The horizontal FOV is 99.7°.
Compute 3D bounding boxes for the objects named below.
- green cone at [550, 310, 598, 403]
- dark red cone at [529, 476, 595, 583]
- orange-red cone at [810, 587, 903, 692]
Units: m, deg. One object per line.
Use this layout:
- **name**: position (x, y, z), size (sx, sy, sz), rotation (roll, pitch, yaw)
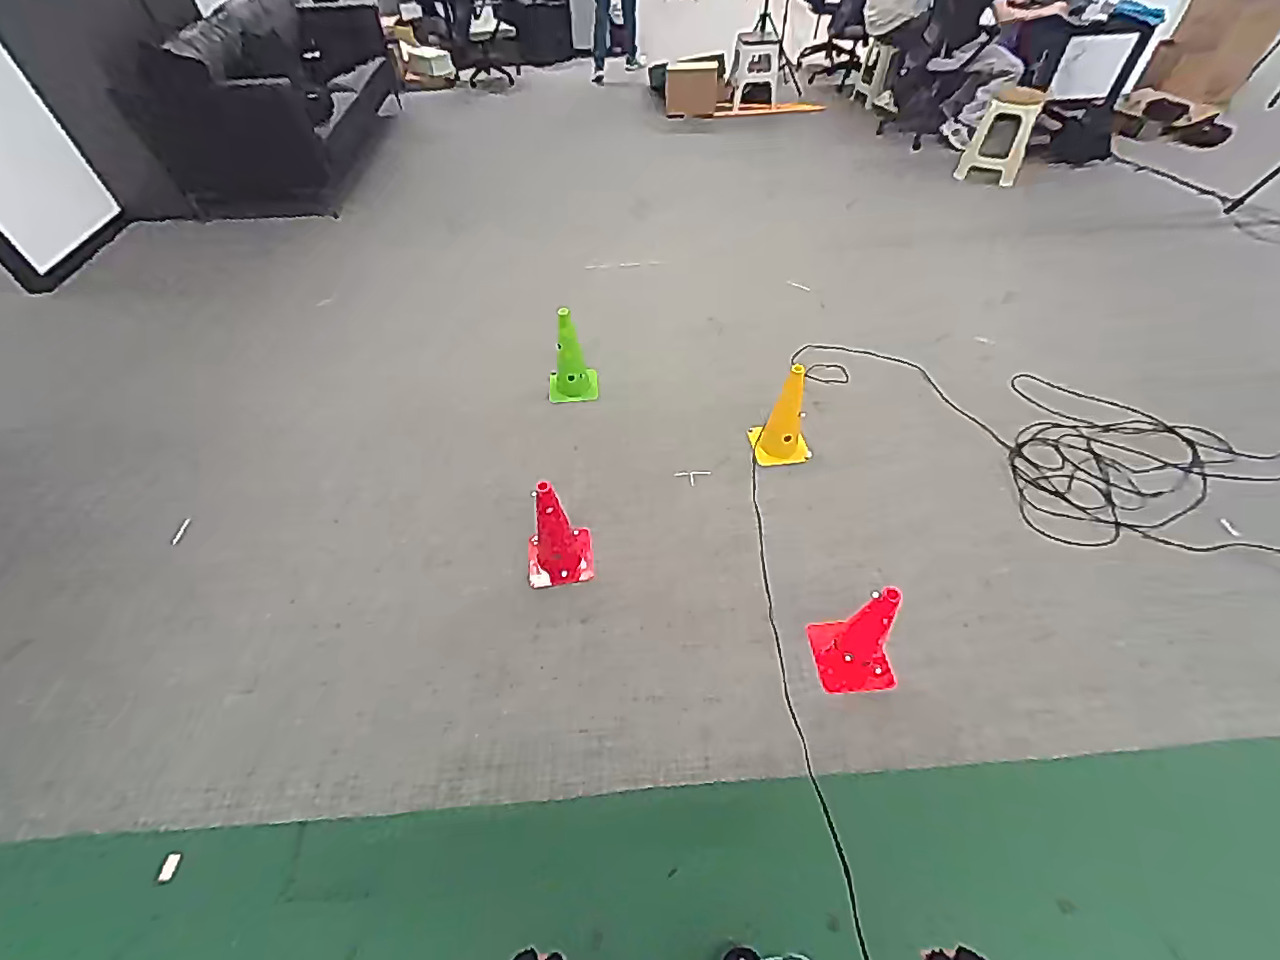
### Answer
- **green cone**: position (-0.278, -0.502, 2.144), size (0.202, 0.368, 0.200), rotation (-4, 50, -4)
- **dark red cone**: position (-0.250, 0.125, 1.575), size (0.202, 0.394, 0.201), rotation (-8, 51, -5)
- **orange-red cone**: position (0.582, 0.374, 1.366), size (0.198, 0.360, 0.199), rotation (-3, 49, -2)
